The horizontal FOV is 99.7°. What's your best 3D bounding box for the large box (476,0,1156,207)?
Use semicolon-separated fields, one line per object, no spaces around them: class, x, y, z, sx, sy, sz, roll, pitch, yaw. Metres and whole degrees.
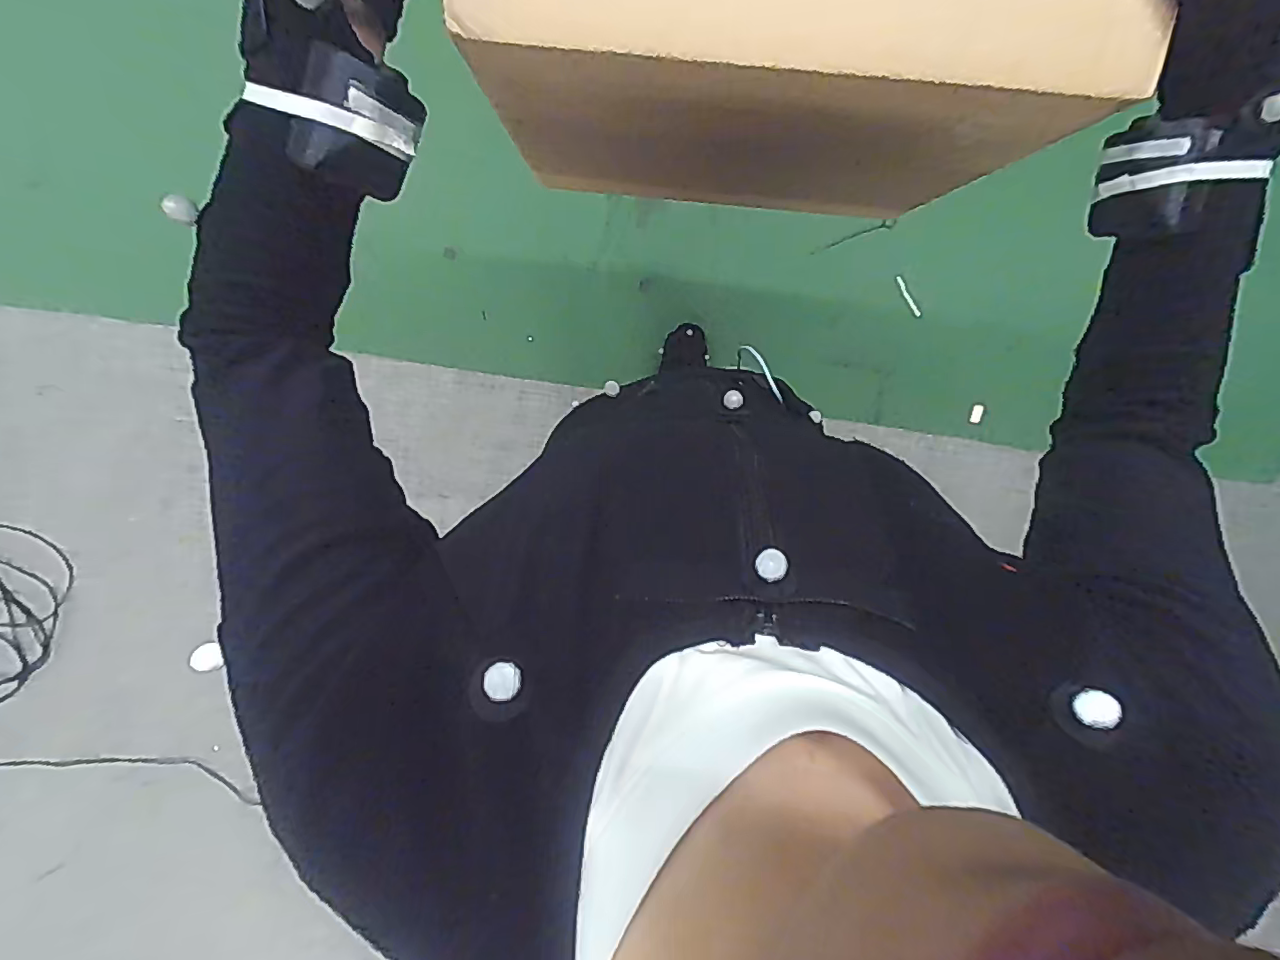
large box;0.103;-0.428;0.426;0.408;0.320;0.320;3;105;-3
